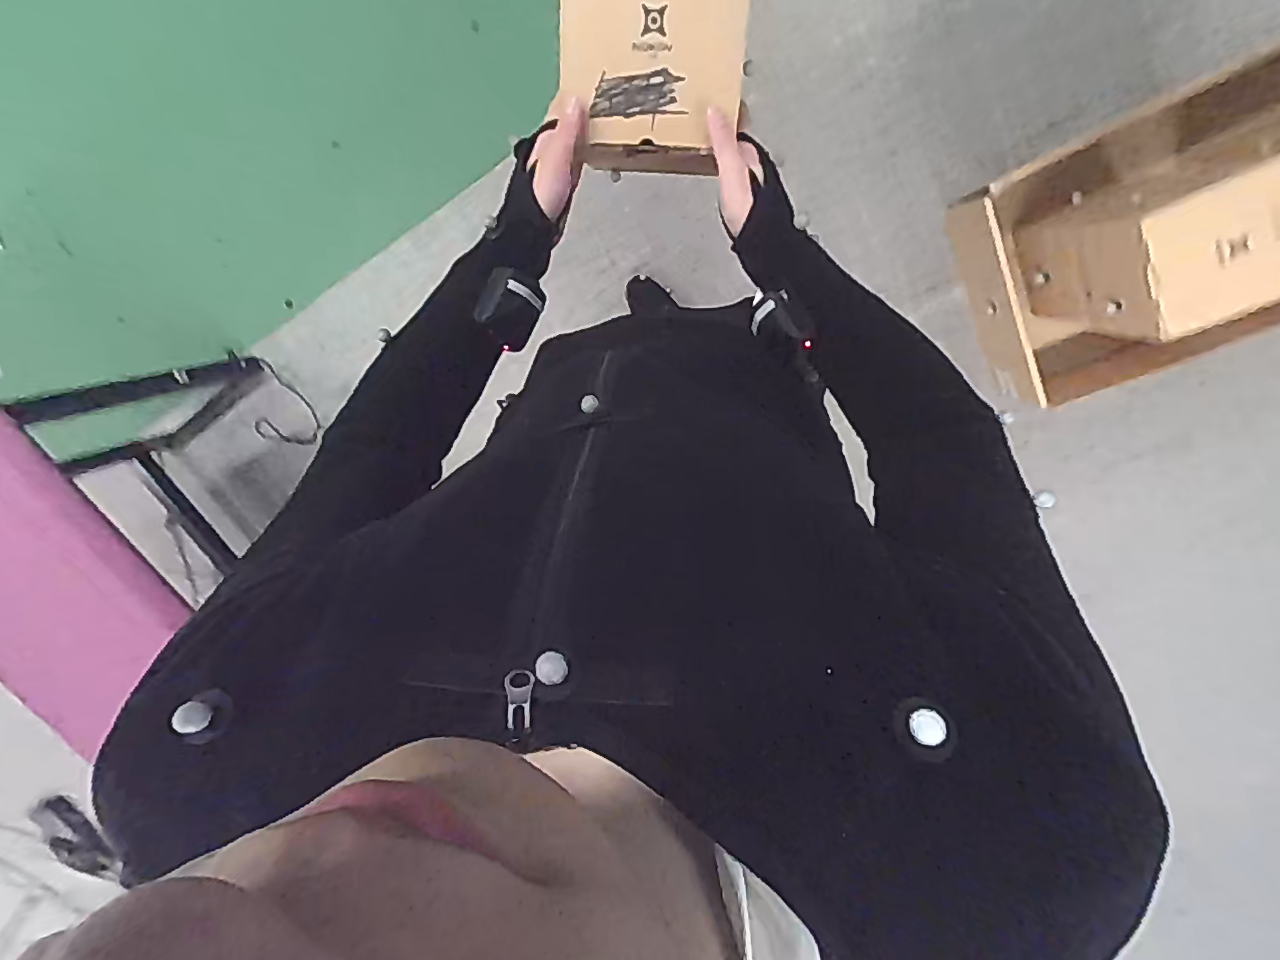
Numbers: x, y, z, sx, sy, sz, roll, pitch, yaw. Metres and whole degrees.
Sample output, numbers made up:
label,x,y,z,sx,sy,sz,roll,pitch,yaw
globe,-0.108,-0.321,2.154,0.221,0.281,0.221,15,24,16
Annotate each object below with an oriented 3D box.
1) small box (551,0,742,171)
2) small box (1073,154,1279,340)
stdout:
label,x,y,z,sx,sy,sz,roll,pitch,yaw
small box,0.012,-0.420,0.543,0.168,0.176,0.179,5,112,5
small box,0.735,-0.308,0.736,0.179,0.176,0.168,-22,106,16
